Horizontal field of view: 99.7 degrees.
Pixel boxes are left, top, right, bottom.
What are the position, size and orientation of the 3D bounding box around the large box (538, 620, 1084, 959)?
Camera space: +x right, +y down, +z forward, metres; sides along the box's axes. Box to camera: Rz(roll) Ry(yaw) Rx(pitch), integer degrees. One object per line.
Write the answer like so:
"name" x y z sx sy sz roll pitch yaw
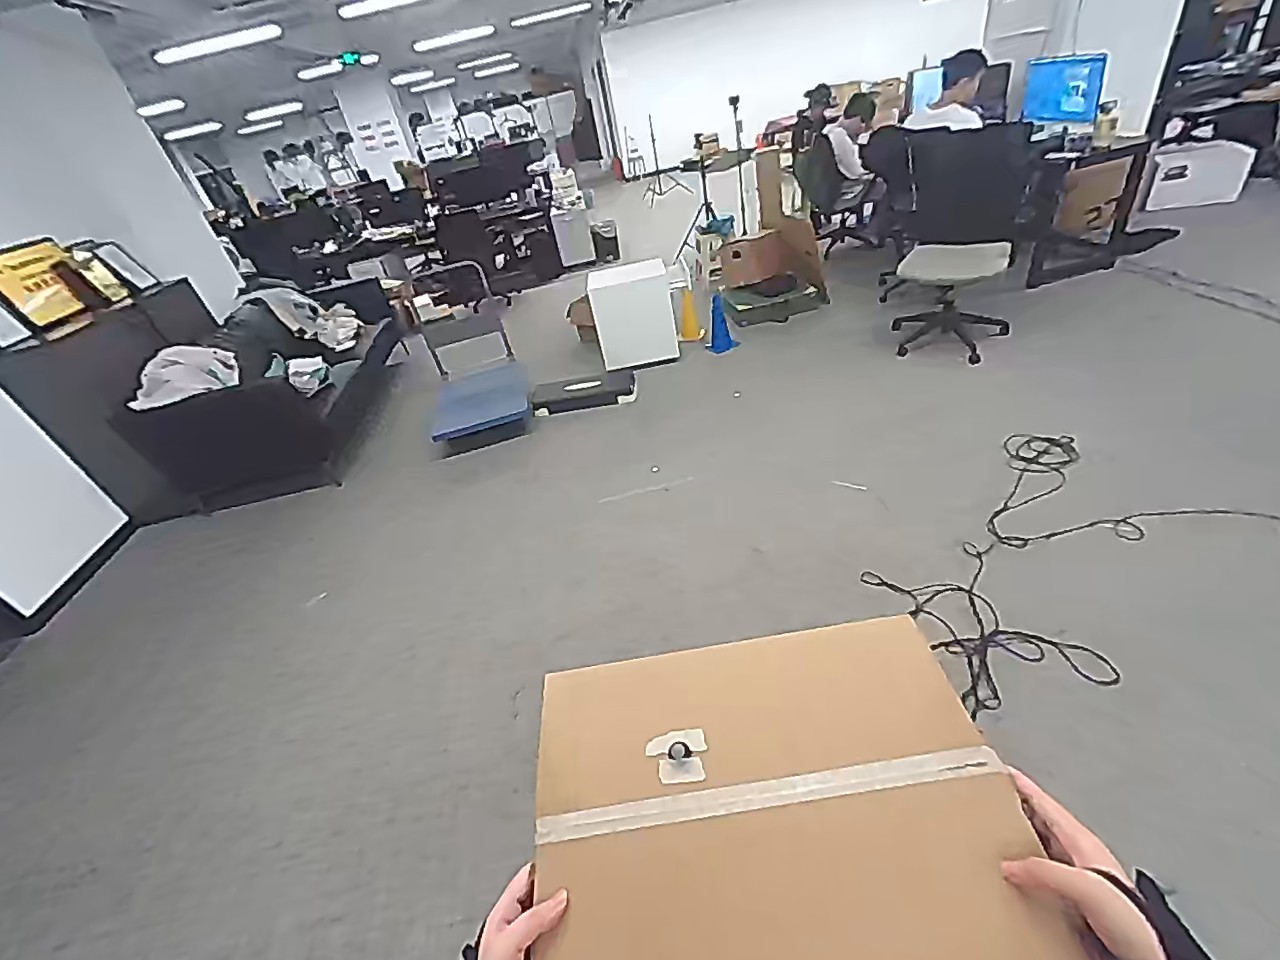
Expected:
"large box" 0.133 0.400 0.581 0.408 0.320 0.320 -12 40 4
